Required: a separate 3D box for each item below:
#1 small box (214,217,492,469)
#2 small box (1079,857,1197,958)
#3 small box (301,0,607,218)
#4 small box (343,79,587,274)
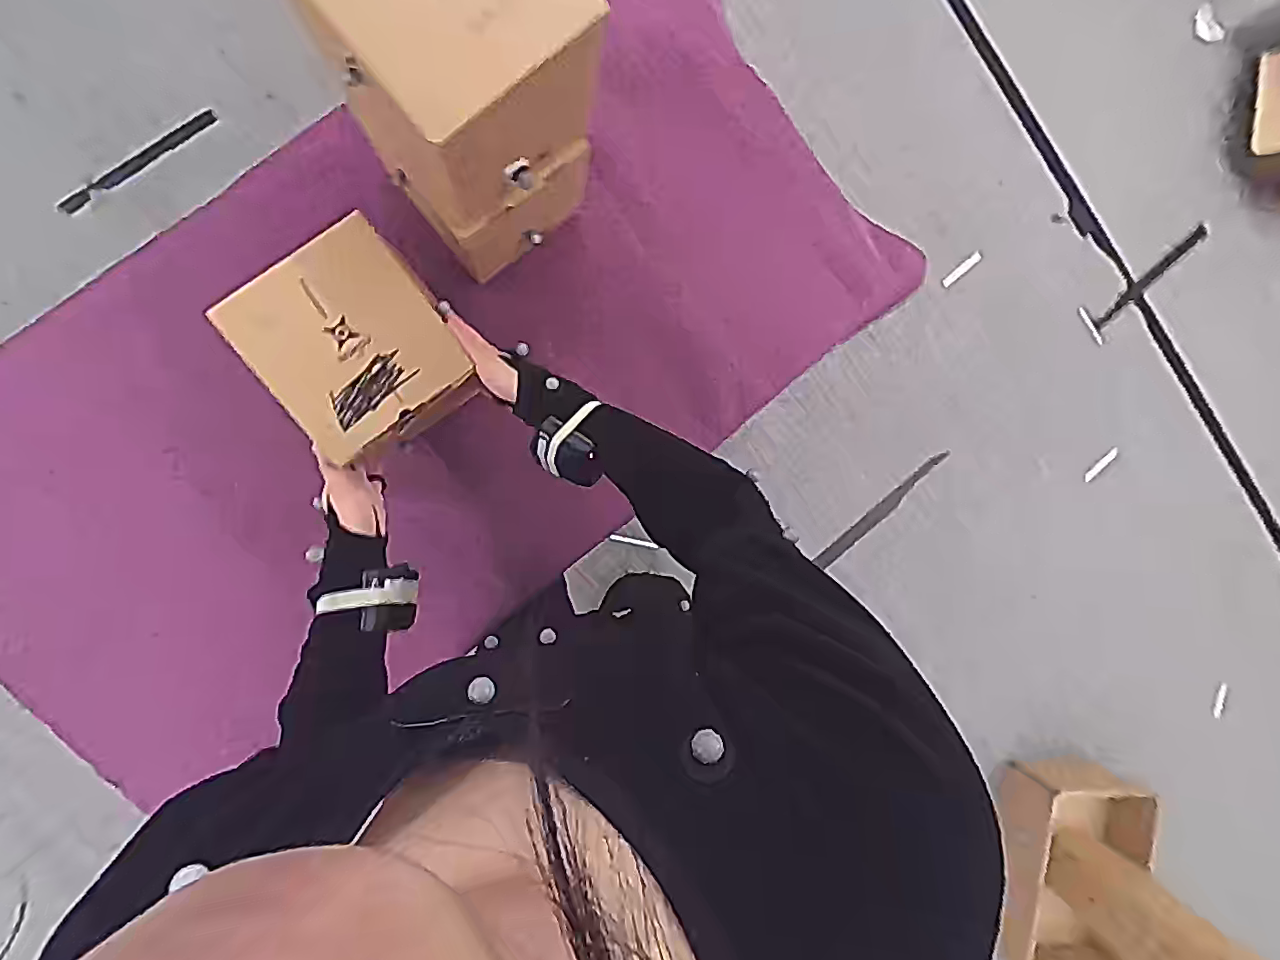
[{"bbox_3d":[-0.279,-0.135,0.578,0.168,0.176,0.179,-36,100,-4],"label":"small box"},{"bbox_3d":[1.418,1.219,1.551,0.179,0.176,0.168,10,93,-11],"label":"small box"},{"bbox_3d":[-0.152,-0.361,0.448,0.168,0.176,0.179,-42,101,-4],"label":"small box"},{"bbox_3d":[-0.182,-0.366,0.608,0.168,0.176,0.179,-40,101,-4],"label":"small box"}]
